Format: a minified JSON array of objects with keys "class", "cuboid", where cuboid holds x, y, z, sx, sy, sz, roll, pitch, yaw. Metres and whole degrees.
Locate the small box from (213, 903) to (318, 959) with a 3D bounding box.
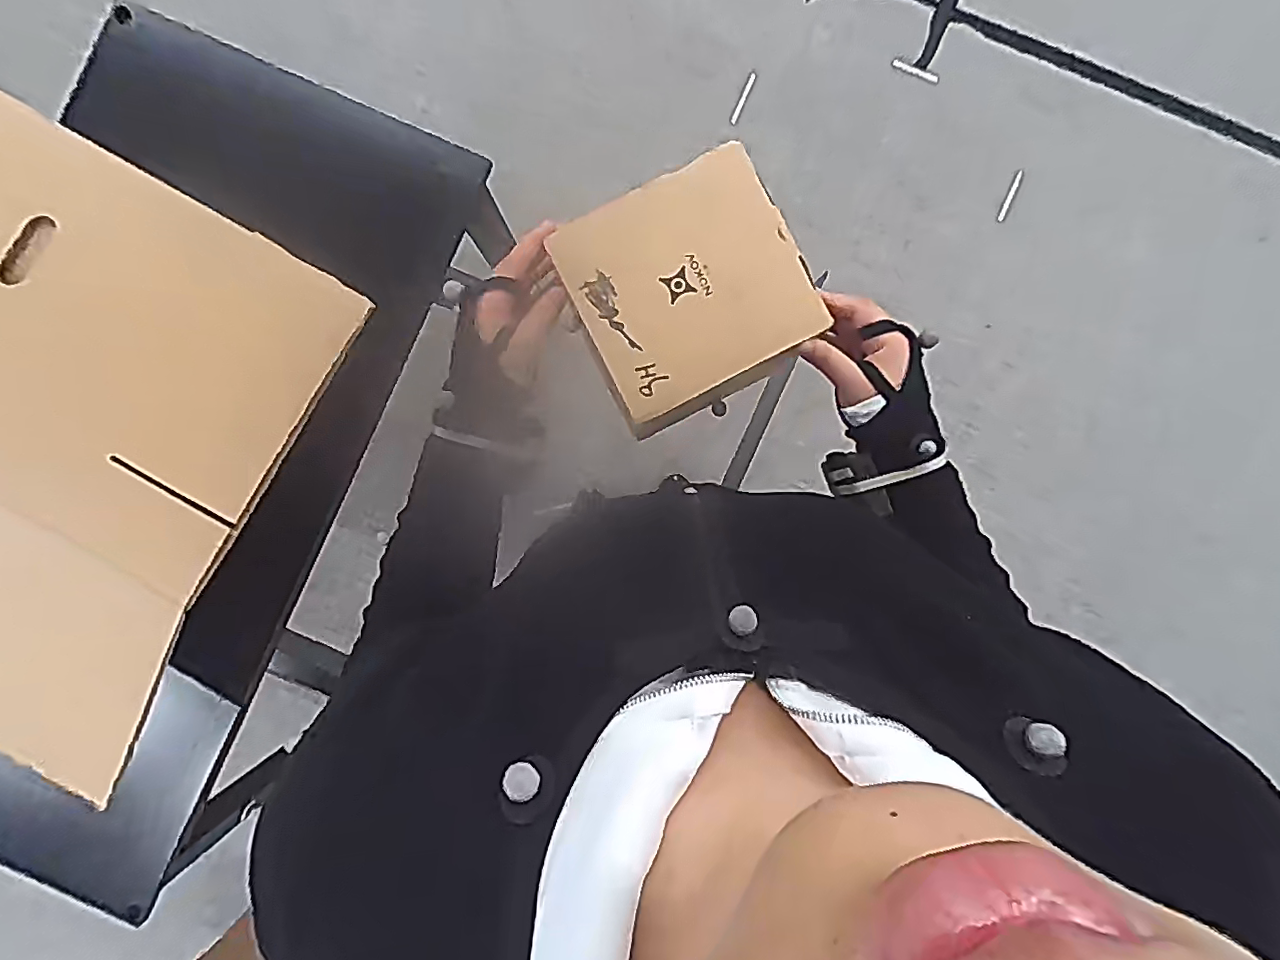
[{"class":"small box","cuboid":[-0.988,1.252,1.401,0.179,0.176,0.168,20,89,0]}]
